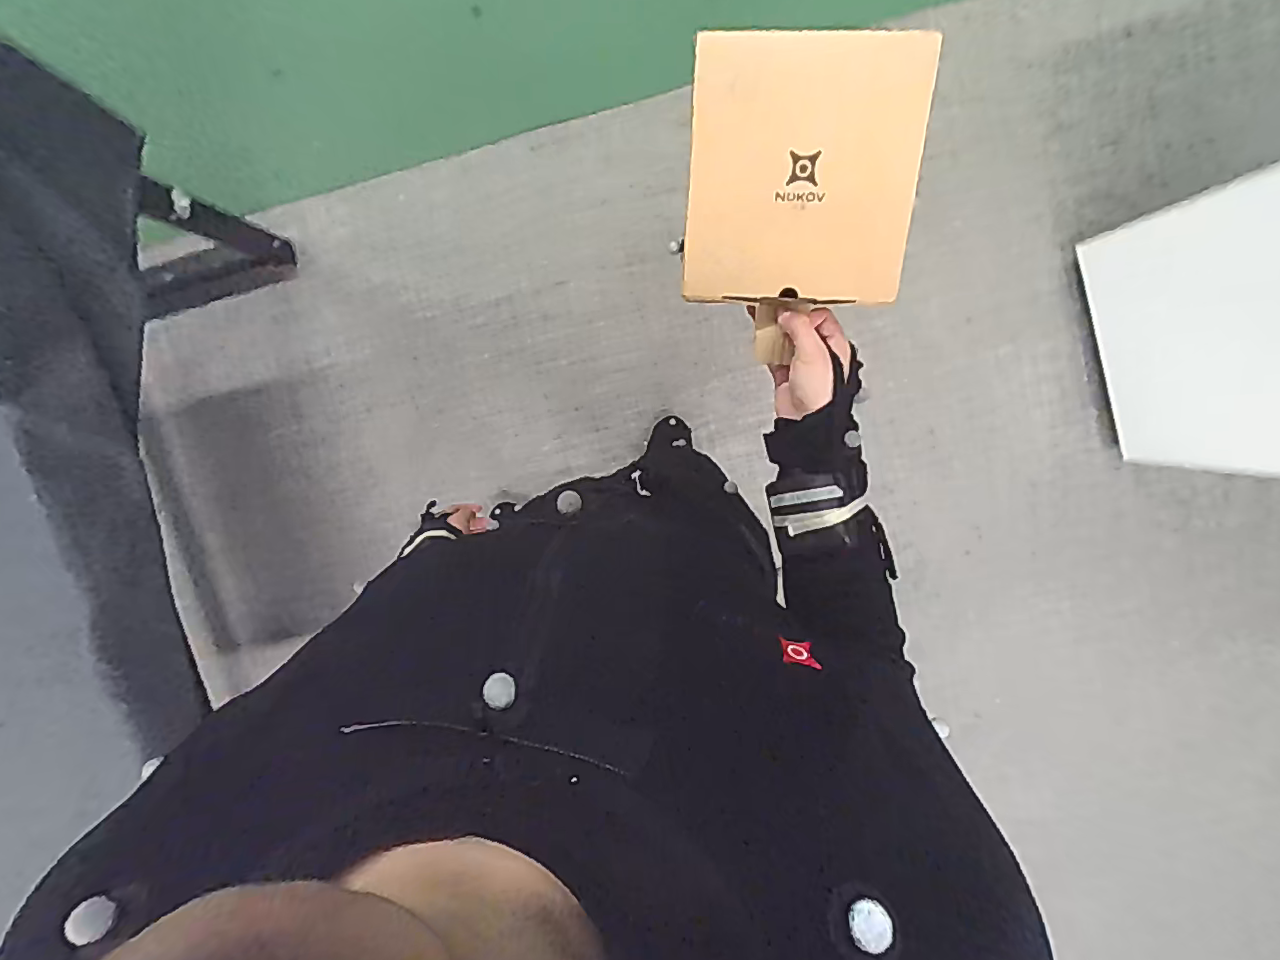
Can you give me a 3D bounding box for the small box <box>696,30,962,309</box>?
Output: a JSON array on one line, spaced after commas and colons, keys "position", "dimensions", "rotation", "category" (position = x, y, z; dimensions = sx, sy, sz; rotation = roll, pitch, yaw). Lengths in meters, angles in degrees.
[{"position": [0.137, -0.244, 0.467], "dimensions": [0.168, 0.176, 0.179], "rotation": [3, 109, 3], "category": "small box"}]
